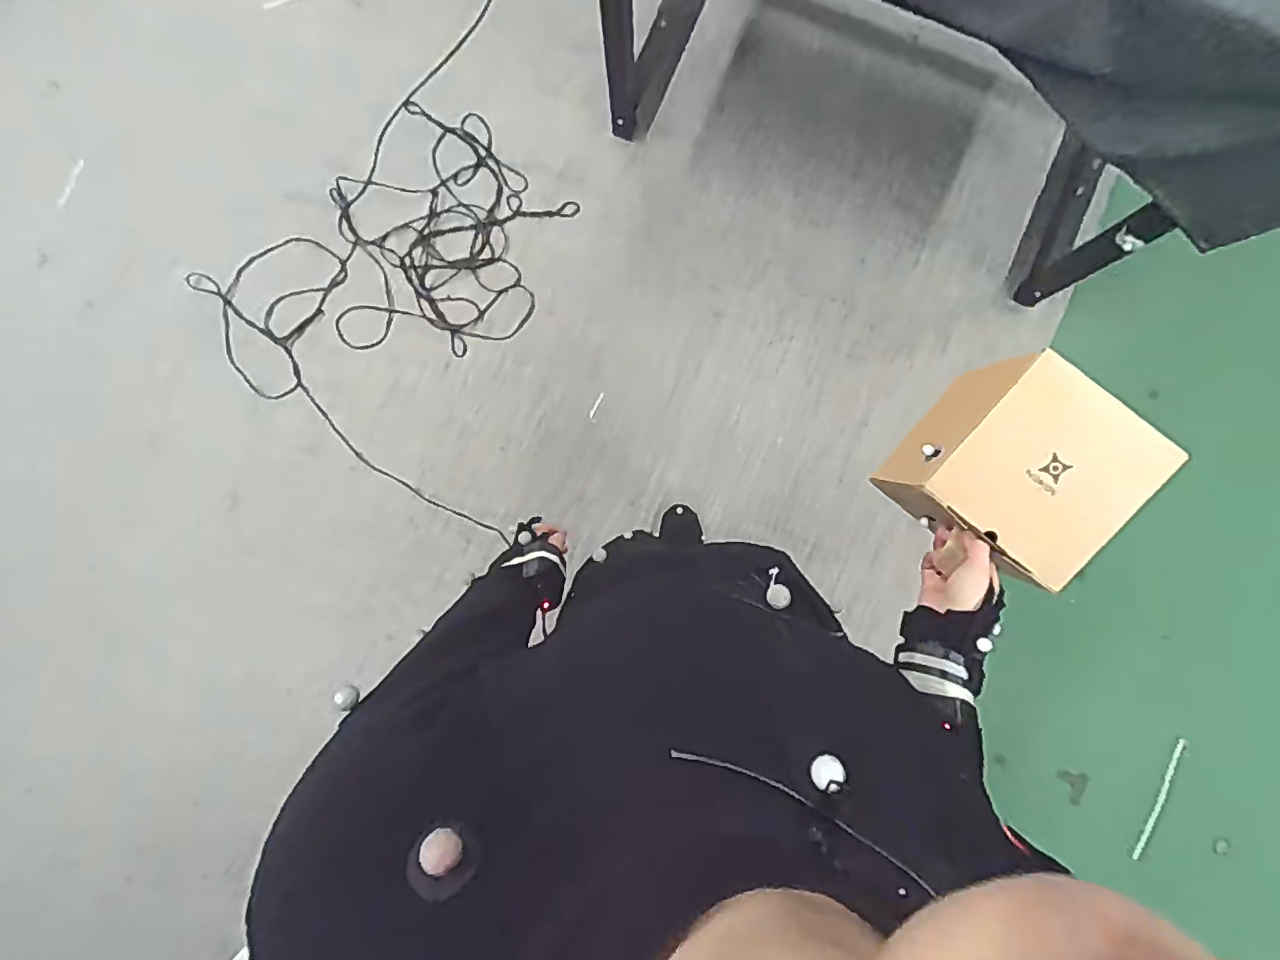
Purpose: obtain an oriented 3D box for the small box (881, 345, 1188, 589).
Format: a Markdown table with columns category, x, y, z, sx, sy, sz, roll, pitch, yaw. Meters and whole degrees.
| category | x | y | z | sx | sy | sz | roll | pitch | yaw |
| --- | --- | --- | --- | --- | --- | --- | --- | --- | --- |
| small box | 0.401 | -0.016 | 0.590 | 0.168 | 0.176 | 0.179 | 39 | 96 | 2 |
